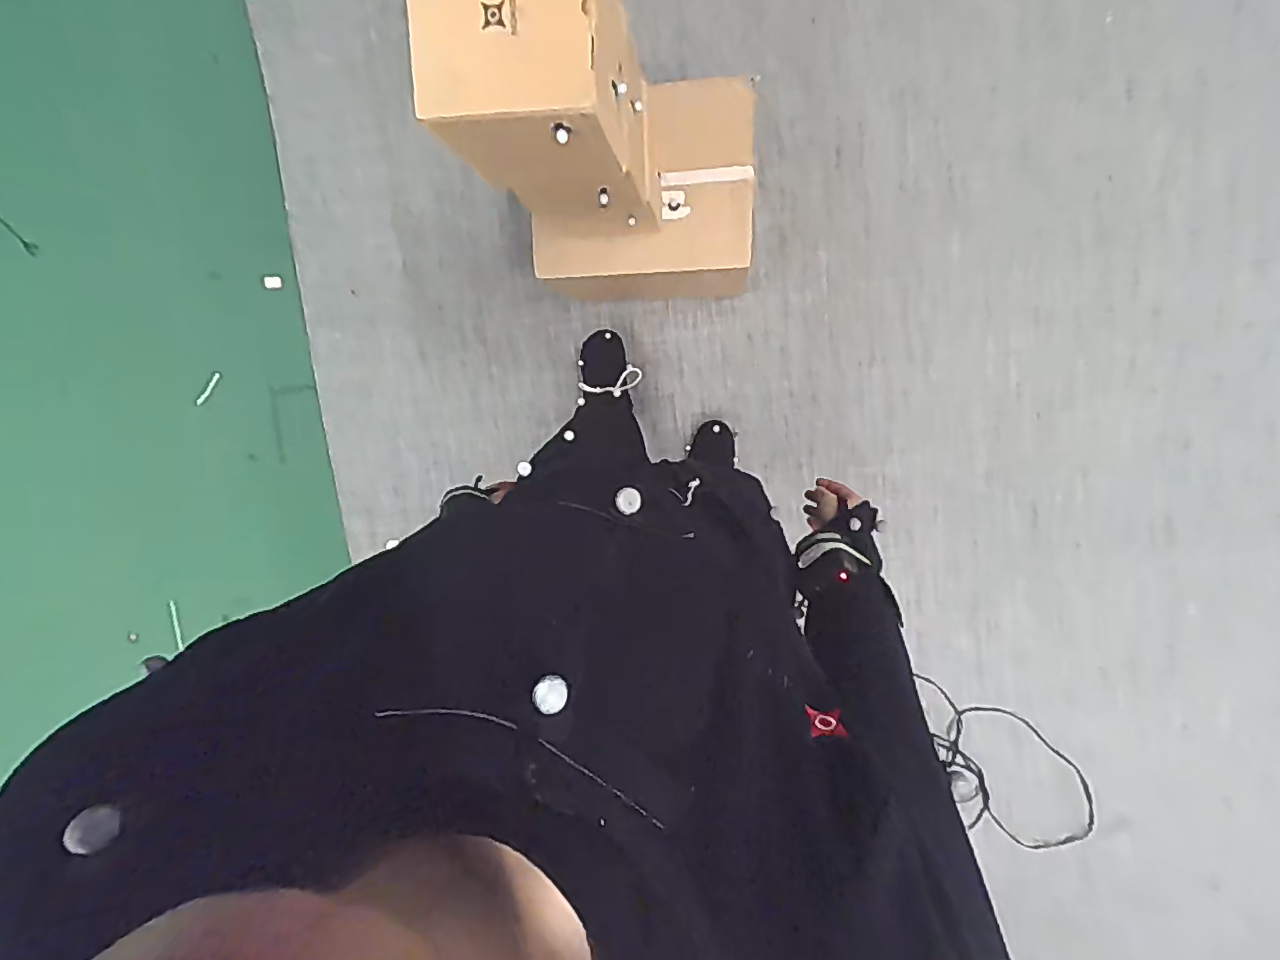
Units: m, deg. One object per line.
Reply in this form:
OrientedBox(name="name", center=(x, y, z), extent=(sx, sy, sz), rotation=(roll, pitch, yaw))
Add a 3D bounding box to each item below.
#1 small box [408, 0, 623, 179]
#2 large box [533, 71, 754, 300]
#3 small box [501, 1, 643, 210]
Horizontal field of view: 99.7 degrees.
OrientedBox(name="small box", center=(-0.117, -0.433, 0.564), extent=(0.179, 0.176, 0.168), rotation=(1, 100, 7))
OrientedBox(name="large box", center=(0.017, -0.560, 1.106), extent=(0.408, 0.320, 0.320), rotation=(0, 101, 8))
OrientedBox(name="small box", center=(-0.087, -0.474, 0.719), extent=(0.168, 0.176, 0.179), rotation=(-1, 99, 7))
